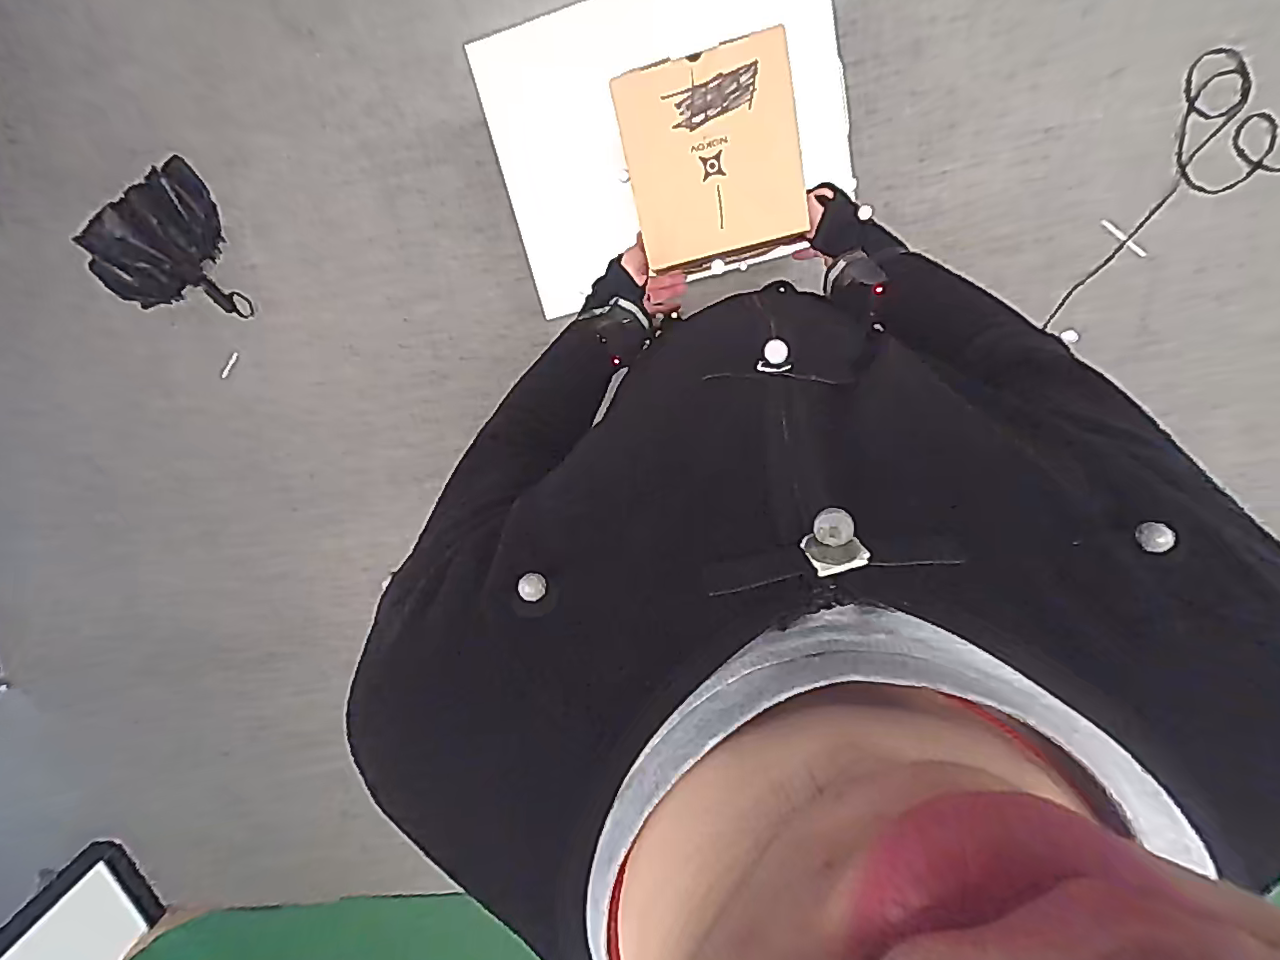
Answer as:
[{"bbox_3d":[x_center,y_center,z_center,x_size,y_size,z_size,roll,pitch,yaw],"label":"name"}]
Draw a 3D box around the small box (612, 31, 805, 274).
[{"bbox_3d":[0.074,-0.337,0.598,0.168,0.176,0.179,-11,108,9],"label":"small box"}]
